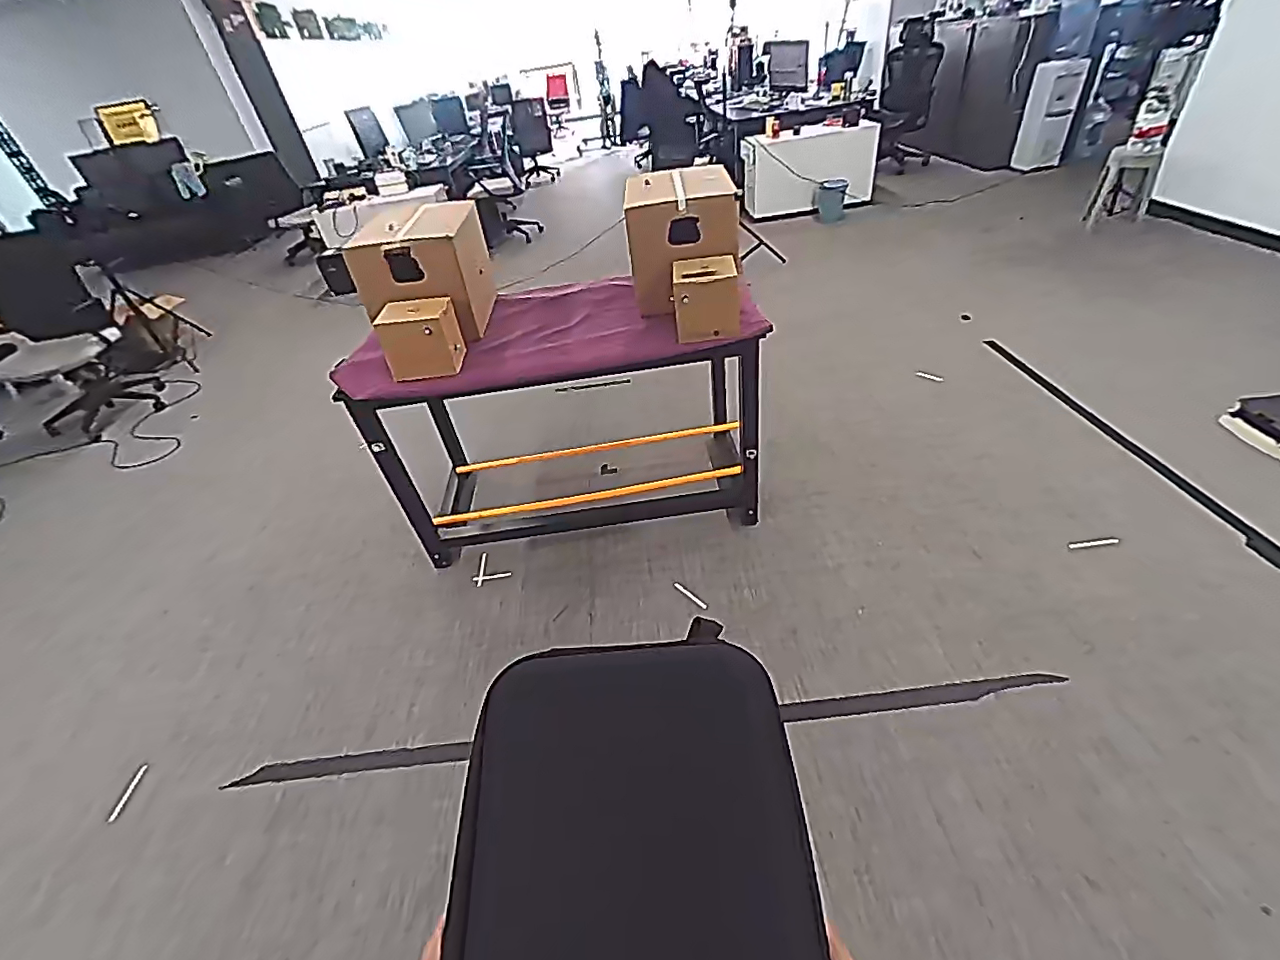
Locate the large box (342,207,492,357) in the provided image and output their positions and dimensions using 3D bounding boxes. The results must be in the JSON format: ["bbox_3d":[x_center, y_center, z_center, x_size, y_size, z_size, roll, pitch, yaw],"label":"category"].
[{"bbox_3d":[-0.675,-0.640,1.725,0.320,0.320,0.408,-8,42,0],"label":"large box"}]
